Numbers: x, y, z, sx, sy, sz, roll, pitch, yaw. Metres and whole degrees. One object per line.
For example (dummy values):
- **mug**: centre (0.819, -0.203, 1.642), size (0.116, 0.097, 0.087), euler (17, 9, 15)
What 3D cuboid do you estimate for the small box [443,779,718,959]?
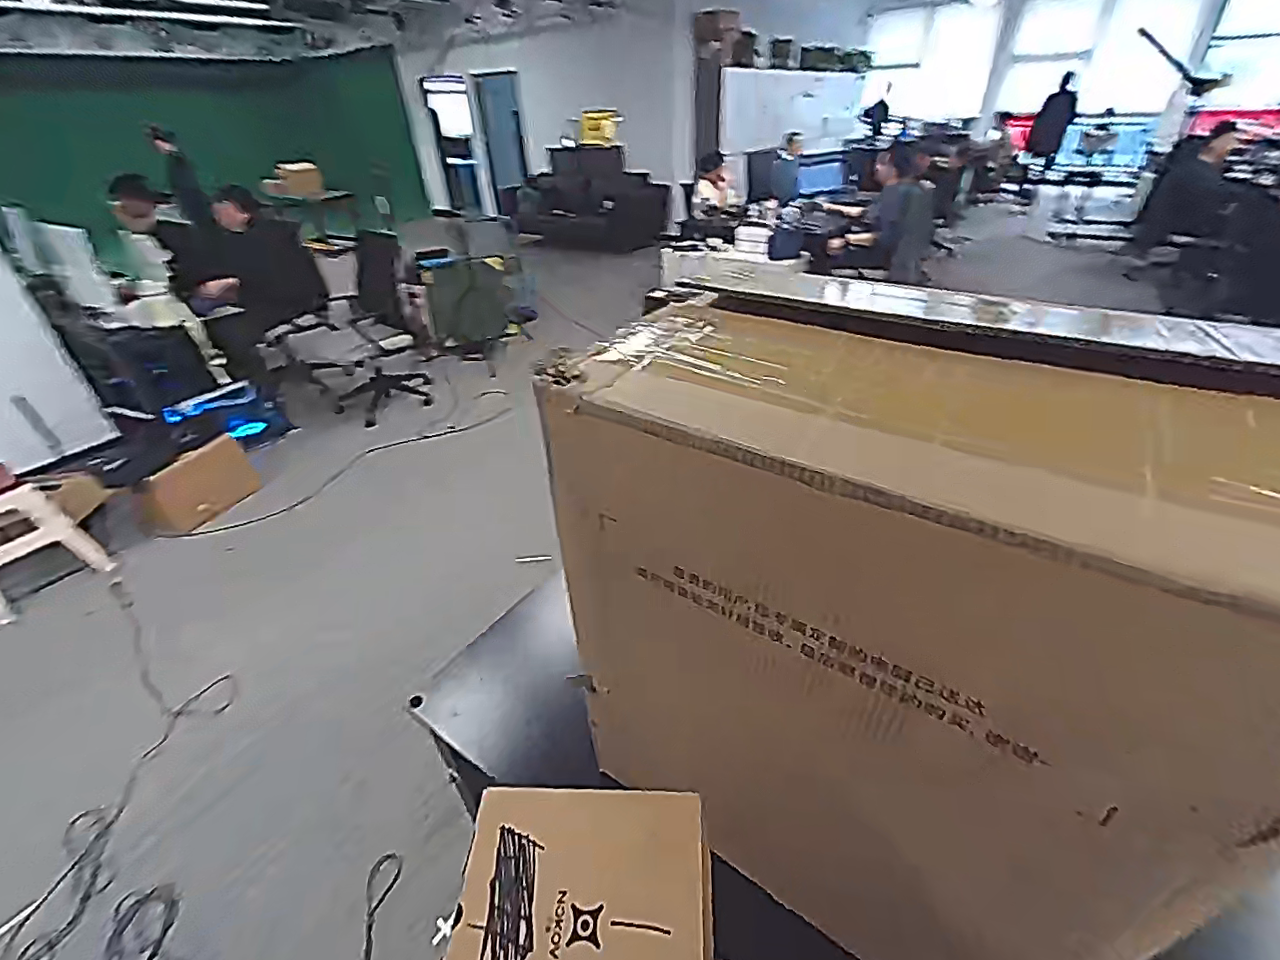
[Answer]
- **small box**: centre (-0.031, 0.352, 0.414), size (0.179, 0.176, 0.168), euler (-2, 41, 8)
